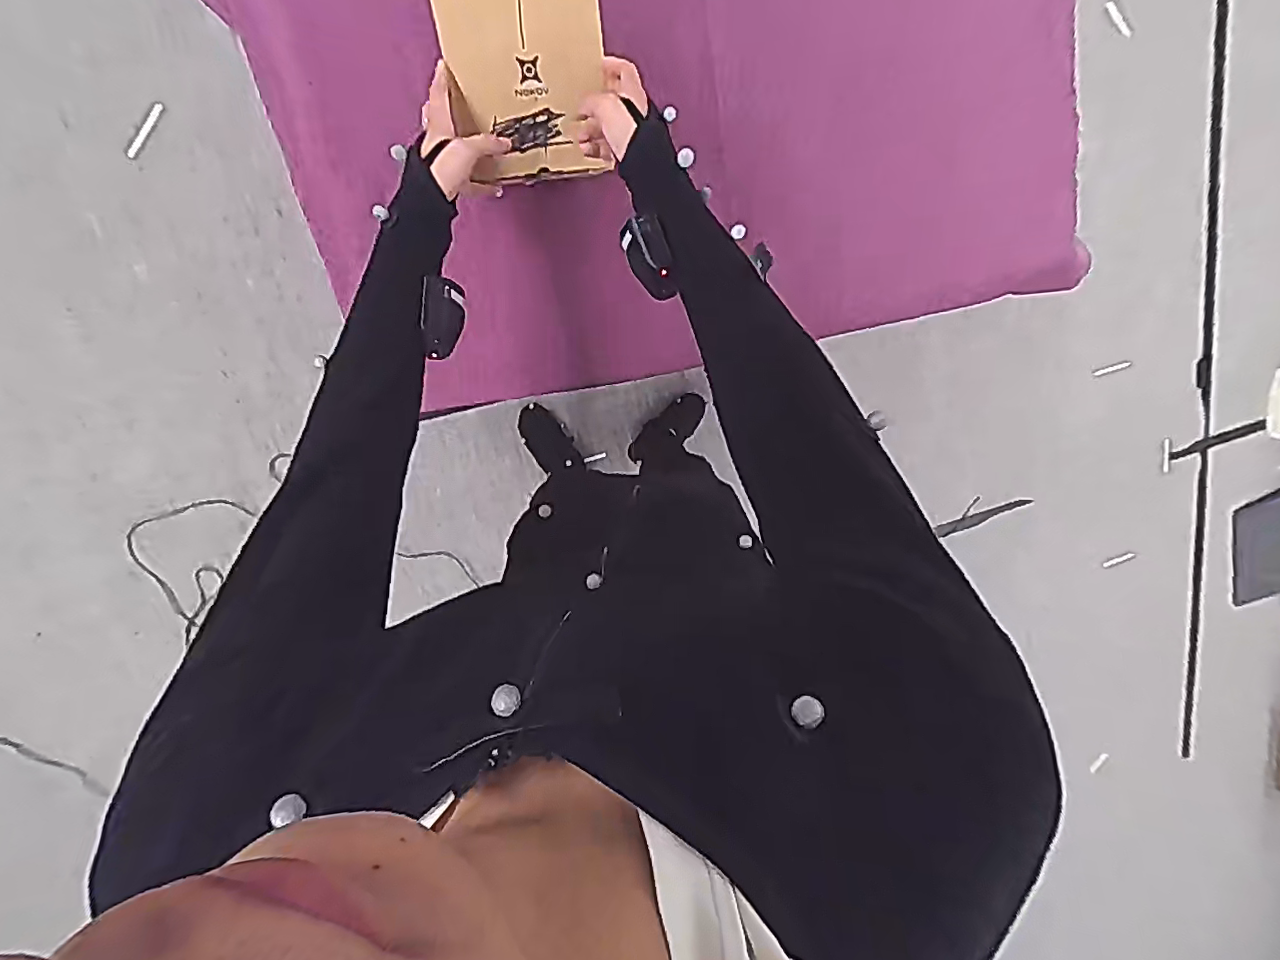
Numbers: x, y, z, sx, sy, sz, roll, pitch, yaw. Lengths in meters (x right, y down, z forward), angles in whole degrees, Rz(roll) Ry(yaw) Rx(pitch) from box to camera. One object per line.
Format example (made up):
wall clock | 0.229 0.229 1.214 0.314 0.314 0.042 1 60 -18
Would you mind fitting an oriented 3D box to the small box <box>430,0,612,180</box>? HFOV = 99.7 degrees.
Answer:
small box | -0.135 -0.456 0.632 0.168 0.176 0.179 -12 118 -10
